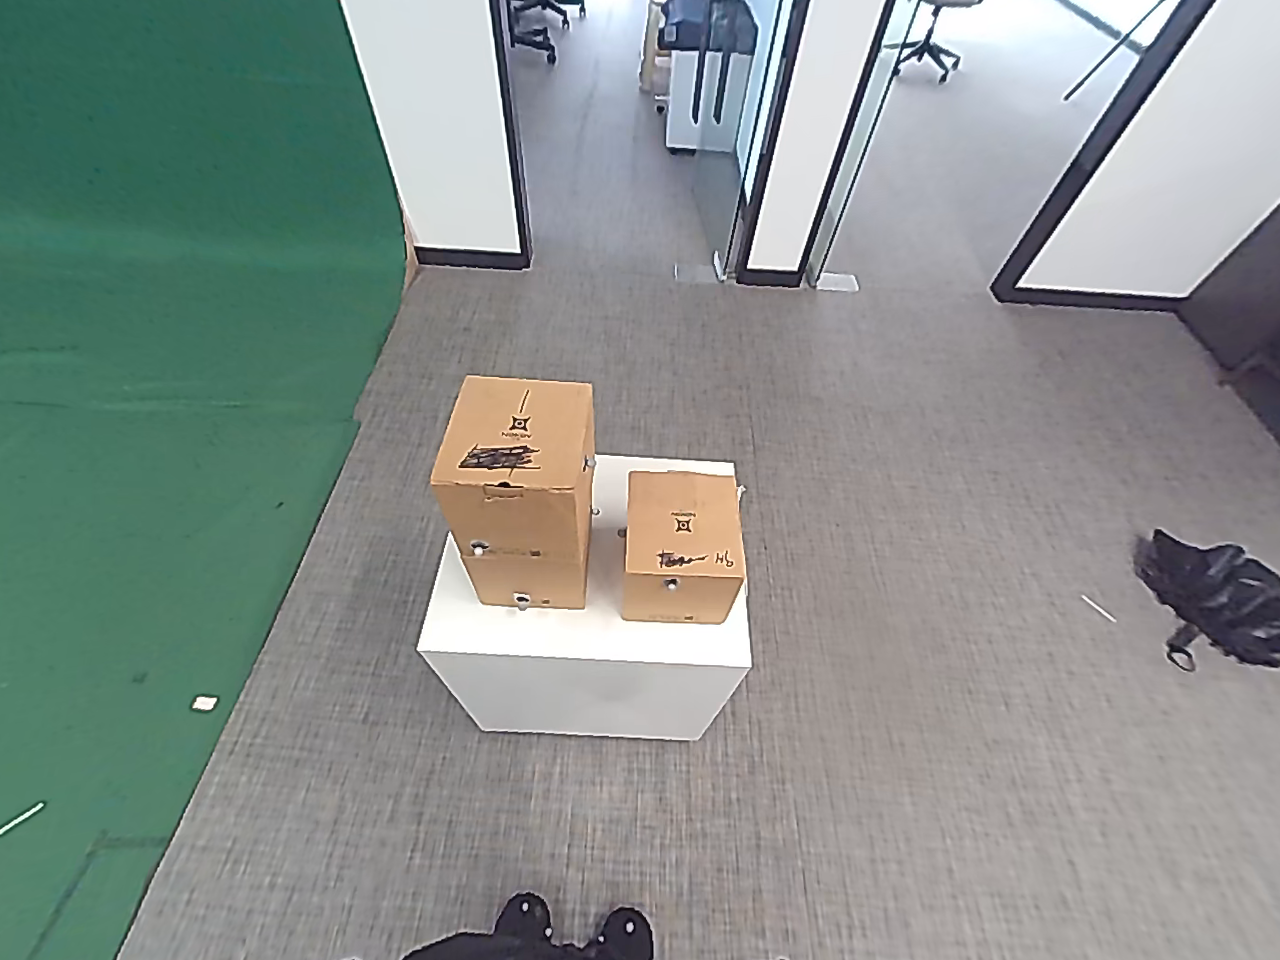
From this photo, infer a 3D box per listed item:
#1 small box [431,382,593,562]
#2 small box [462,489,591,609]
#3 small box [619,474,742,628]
[{"bbox_3d":[-0.154,-0.006,0.722,0.168,0.176,0.179,4,51,0],"label":"small box"},{"bbox_3d":[-0.163,0.084,0.839,0.168,0.176,0.179,1,54,-2],"label":"small box"},{"bbox_3d":[0.055,0.113,0.849,0.168,0.176,0.179,3,52,-2],"label":"small box"}]
